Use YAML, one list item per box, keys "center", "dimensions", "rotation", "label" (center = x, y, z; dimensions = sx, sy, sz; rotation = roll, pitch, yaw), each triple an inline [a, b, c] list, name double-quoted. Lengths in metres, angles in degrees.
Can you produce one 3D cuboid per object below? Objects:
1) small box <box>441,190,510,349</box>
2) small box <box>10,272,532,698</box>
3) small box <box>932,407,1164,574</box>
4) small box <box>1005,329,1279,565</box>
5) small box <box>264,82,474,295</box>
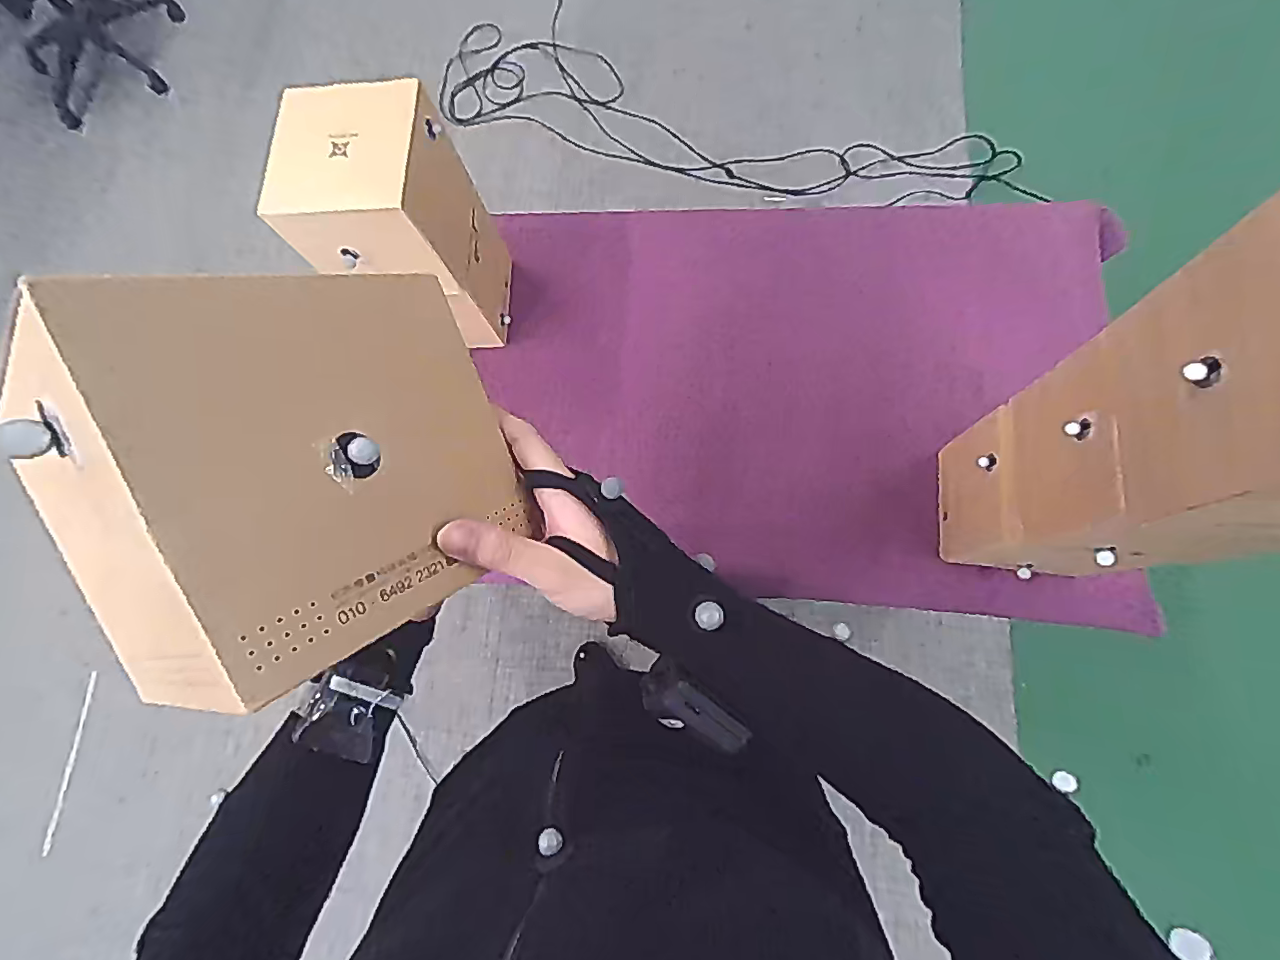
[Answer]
- center: [-0.312, -0.315, 0.838]
  dimensions: [0.179, 0.176, 0.168]
  rotation: [-1, 76, 5]
  label: "small box"
- center: [-0.192, 0.002, 0.305]
  dimensions: [0.179, 0.168, 0.176]
  rotation: [-15, 99, 37]
  label: "small box"
- center: [0.496, 0.023, 0.680]
  dimensions: [0.179, 0.176, 0.168]
  rotation: [6, 75, 7]
  label: "small box"
- center: [0.484, -0.022, 0.523]
  dimensions: [0.168, 0.176, 0.179]
  rotation: [6, 76, 9]
  label: "small box"
- center: [-0.322, -0.349, 0.680]
  dimensions: [0.168, 0.176, 0.179]
  rotation: [-1, 75, 5]
  label: "small box"
